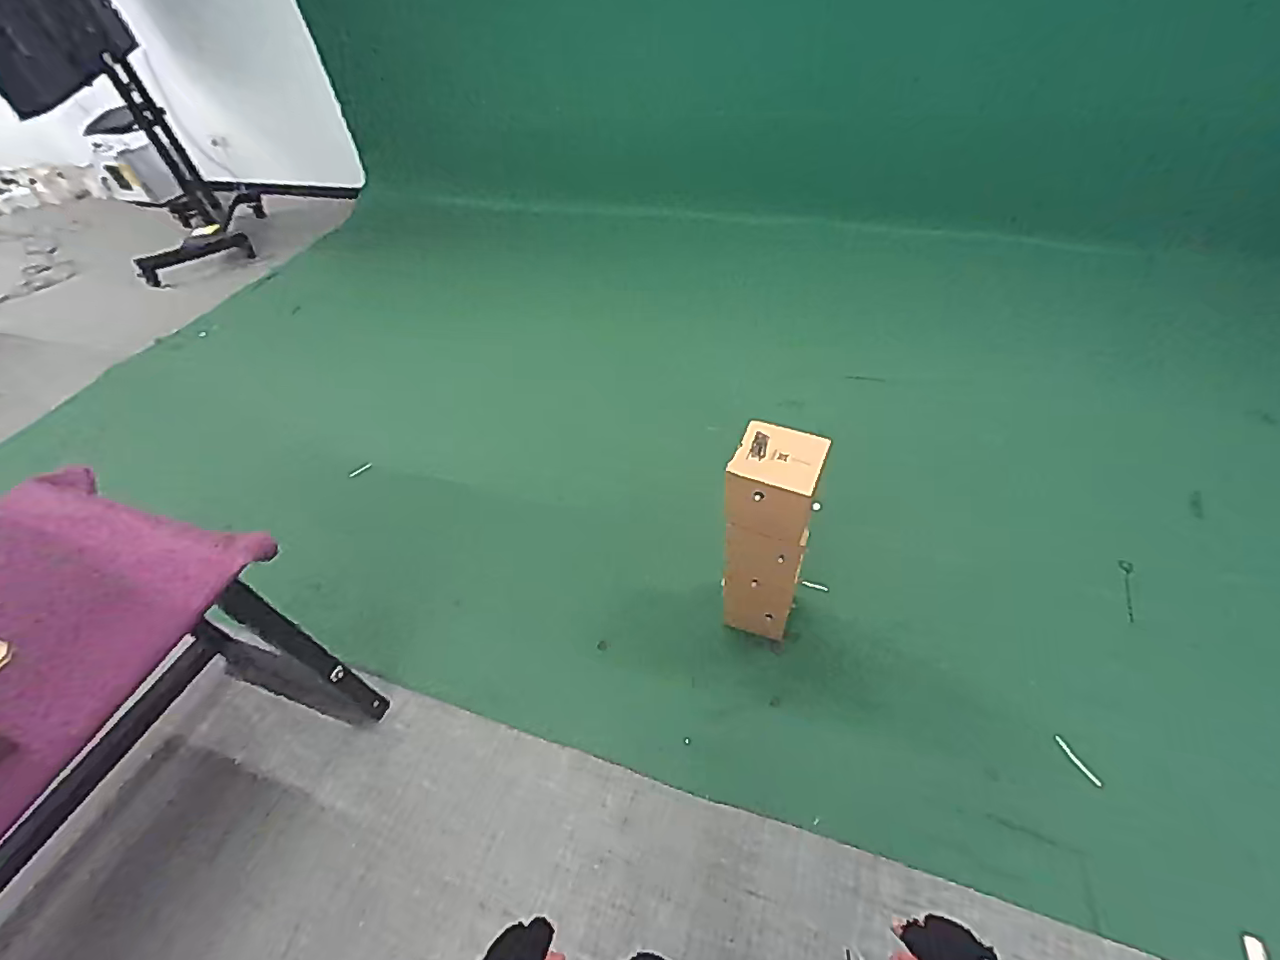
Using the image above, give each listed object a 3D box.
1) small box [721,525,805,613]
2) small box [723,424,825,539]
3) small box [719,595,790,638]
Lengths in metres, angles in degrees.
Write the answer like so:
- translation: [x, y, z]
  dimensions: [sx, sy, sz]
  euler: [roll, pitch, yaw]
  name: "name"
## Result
- translation: [0.319, 0.227, 1.415]
  dimensions: [0.179, 0.176, 0.168]
  euler: [14, 52, 17]
  name: "small box"
- translation: [0.286, 0.006, 1.173]
  dimensions: [0.179, 0.176, 0.168]
  euler: [14, 51, 19]
  name: "small box"
- translation: [0.332, 0.329, 1.541]
  dimensions: [0.179, 0.176, 0.168]
  euler: [14, 51, 16]
  name: "small box"
